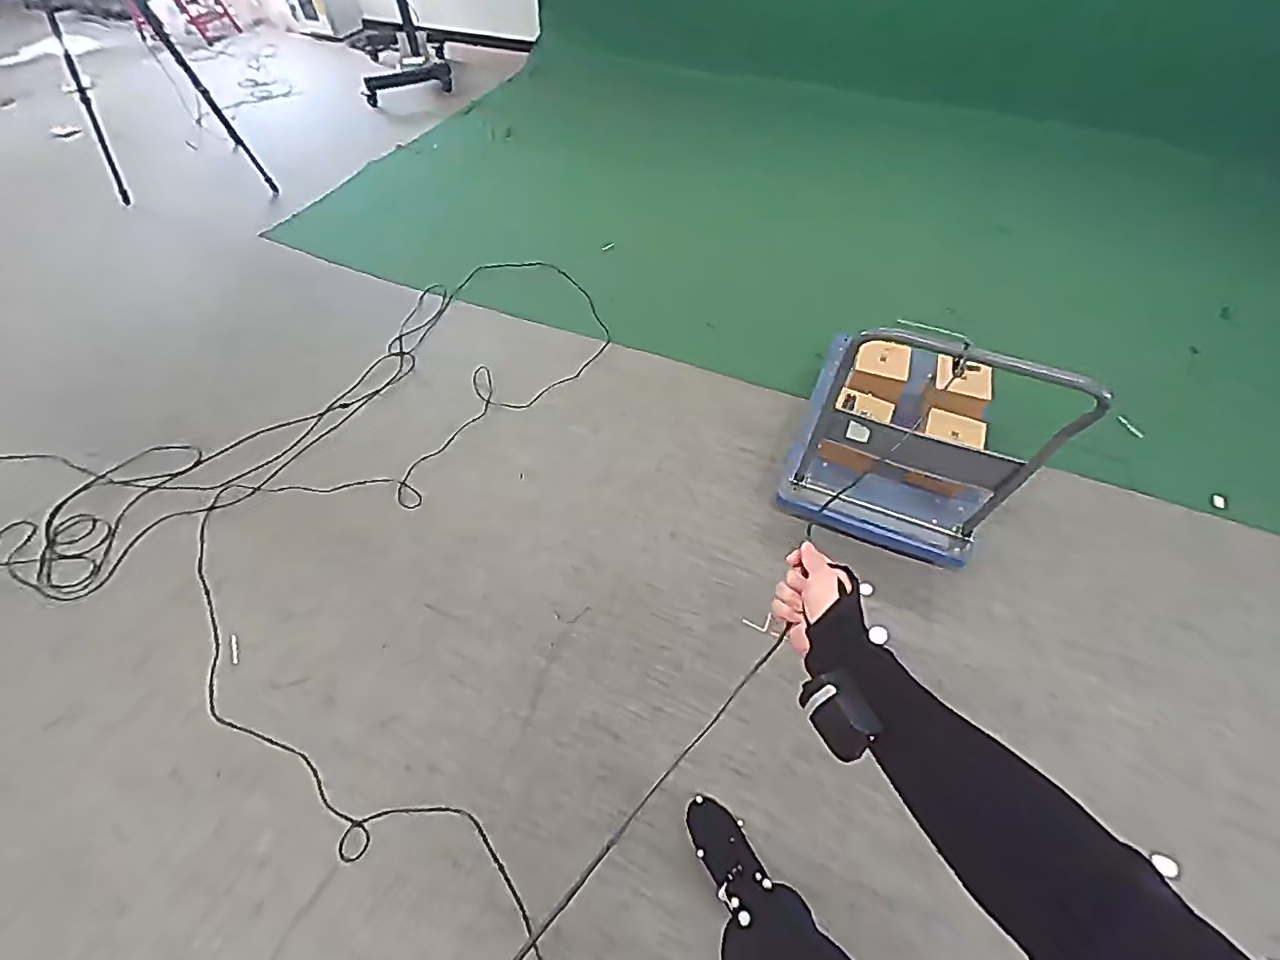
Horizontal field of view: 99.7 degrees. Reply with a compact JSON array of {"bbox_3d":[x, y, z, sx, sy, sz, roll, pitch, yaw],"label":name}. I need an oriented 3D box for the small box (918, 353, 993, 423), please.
[{"bbox_3d":[1.053,-0.291,1.813,0.168,0.176,0.179,16,58,13],"label":"small box"}]

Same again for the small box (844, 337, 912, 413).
[{"bbox_3d":[0.817,-0.360,1.867,0.168,0.176,0.179,17,57,12],"label":"small box"}]

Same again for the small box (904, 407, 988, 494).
[{"bbox_3d":[0.942,-0.088,1.673,0.168,0.176,0.179,21,58,15],"label":"small box"}]
